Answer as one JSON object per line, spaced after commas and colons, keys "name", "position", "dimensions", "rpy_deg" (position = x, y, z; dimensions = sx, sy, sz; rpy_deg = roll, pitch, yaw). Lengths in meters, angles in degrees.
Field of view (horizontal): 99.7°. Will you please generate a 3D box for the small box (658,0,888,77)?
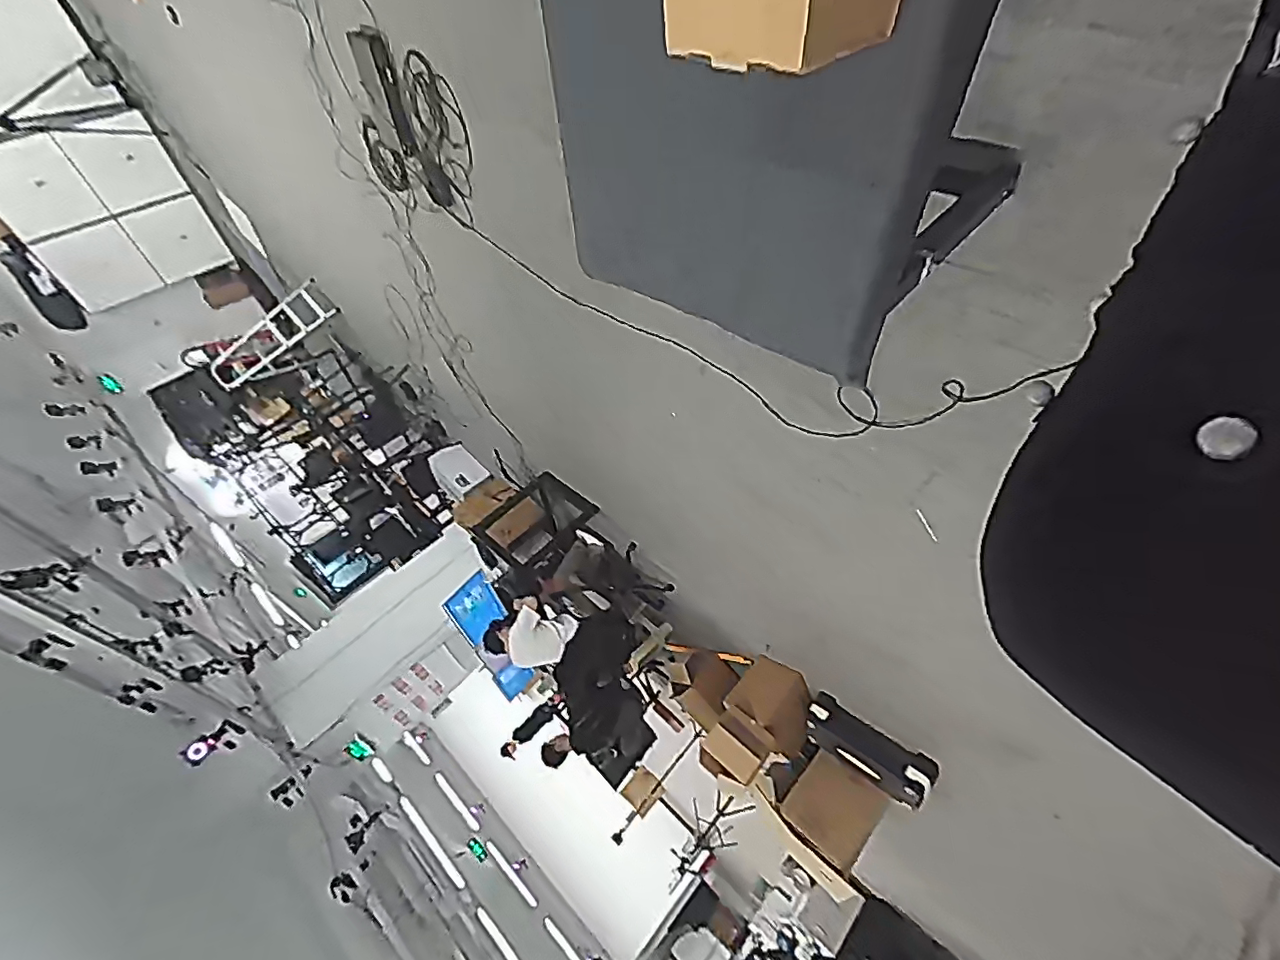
{"name": "small box", "position": [0.131, -0.503, 0.491], "dimensions": [0.168, 0.176, 0.179], "rpy_deg": [35, 150, 29]}
